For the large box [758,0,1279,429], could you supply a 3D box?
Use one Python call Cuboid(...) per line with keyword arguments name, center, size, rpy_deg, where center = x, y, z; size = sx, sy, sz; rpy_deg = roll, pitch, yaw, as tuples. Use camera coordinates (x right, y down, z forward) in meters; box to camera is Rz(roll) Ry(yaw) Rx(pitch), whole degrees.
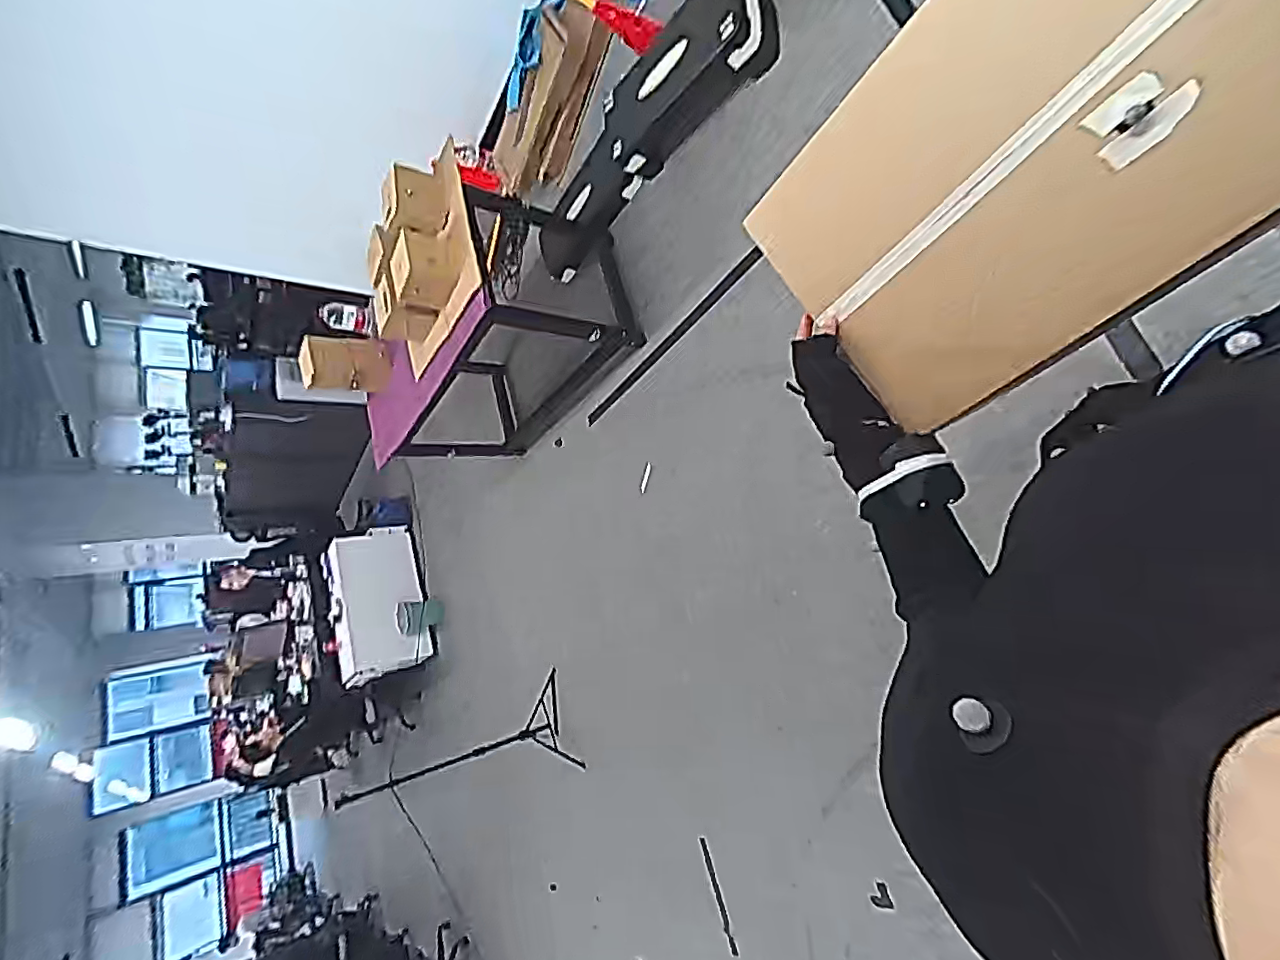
Cuboid(name="large box", center=(0.416, -0.306, 0.580), size=(0.408, 0.320, 0.320), rpy_deg=(-43, 73, 40))
